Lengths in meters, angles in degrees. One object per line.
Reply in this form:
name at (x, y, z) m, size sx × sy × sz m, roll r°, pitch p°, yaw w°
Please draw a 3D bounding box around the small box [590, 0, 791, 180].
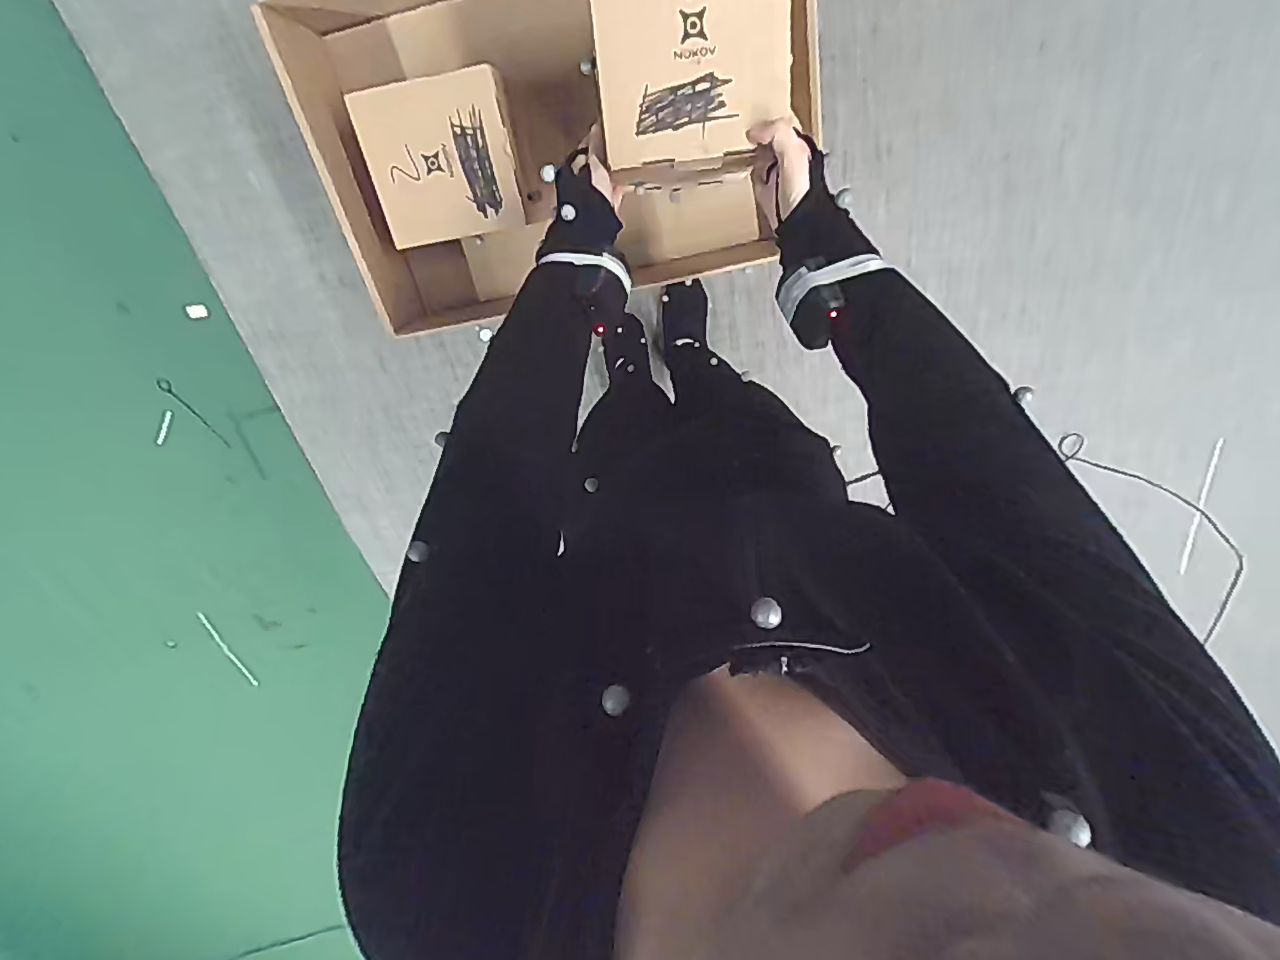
small box at (0.041, -0.399, 0.525) m, size 0.168 × 0.176 × 0.179 m, roll -7°, pitch 113°, yaw 0°
